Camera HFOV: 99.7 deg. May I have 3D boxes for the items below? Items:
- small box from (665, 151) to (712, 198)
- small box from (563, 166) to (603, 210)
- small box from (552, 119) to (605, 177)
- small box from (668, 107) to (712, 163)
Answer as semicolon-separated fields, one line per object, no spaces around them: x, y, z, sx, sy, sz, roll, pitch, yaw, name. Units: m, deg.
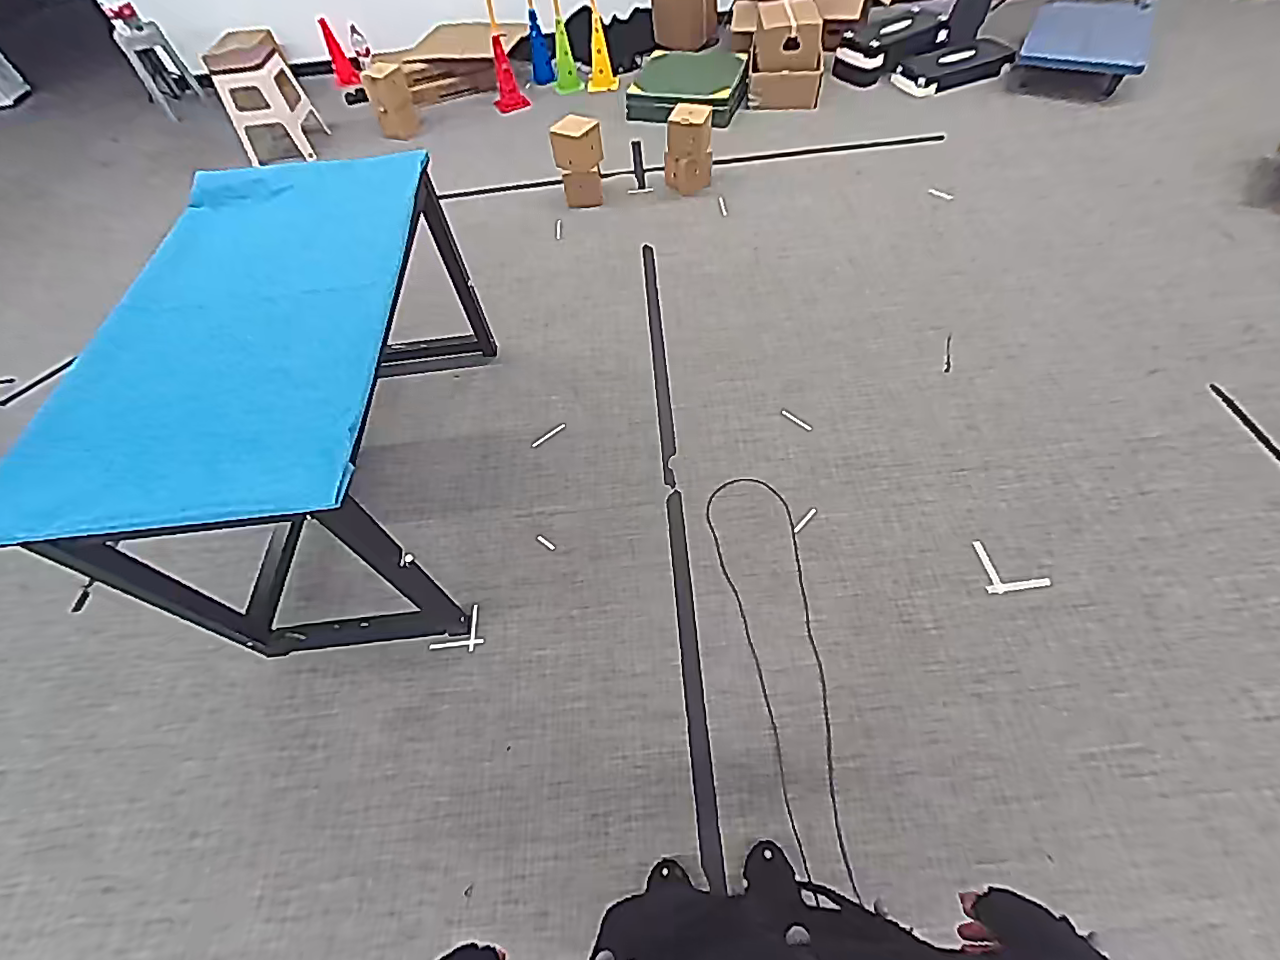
0.243;-1.541;2.689;0.179;0.176;0.168;-31;61;-15;small box
-0.278;-1.470;2.688;0.179;0.176;0.168;-4;55;3;small box
-0.291;-1.573;2.557;0.179;0.176;0.168;26;62;22;small box
0.237;-1.623;2.548;0.168;0.176;0.179;15;58;12;small box
